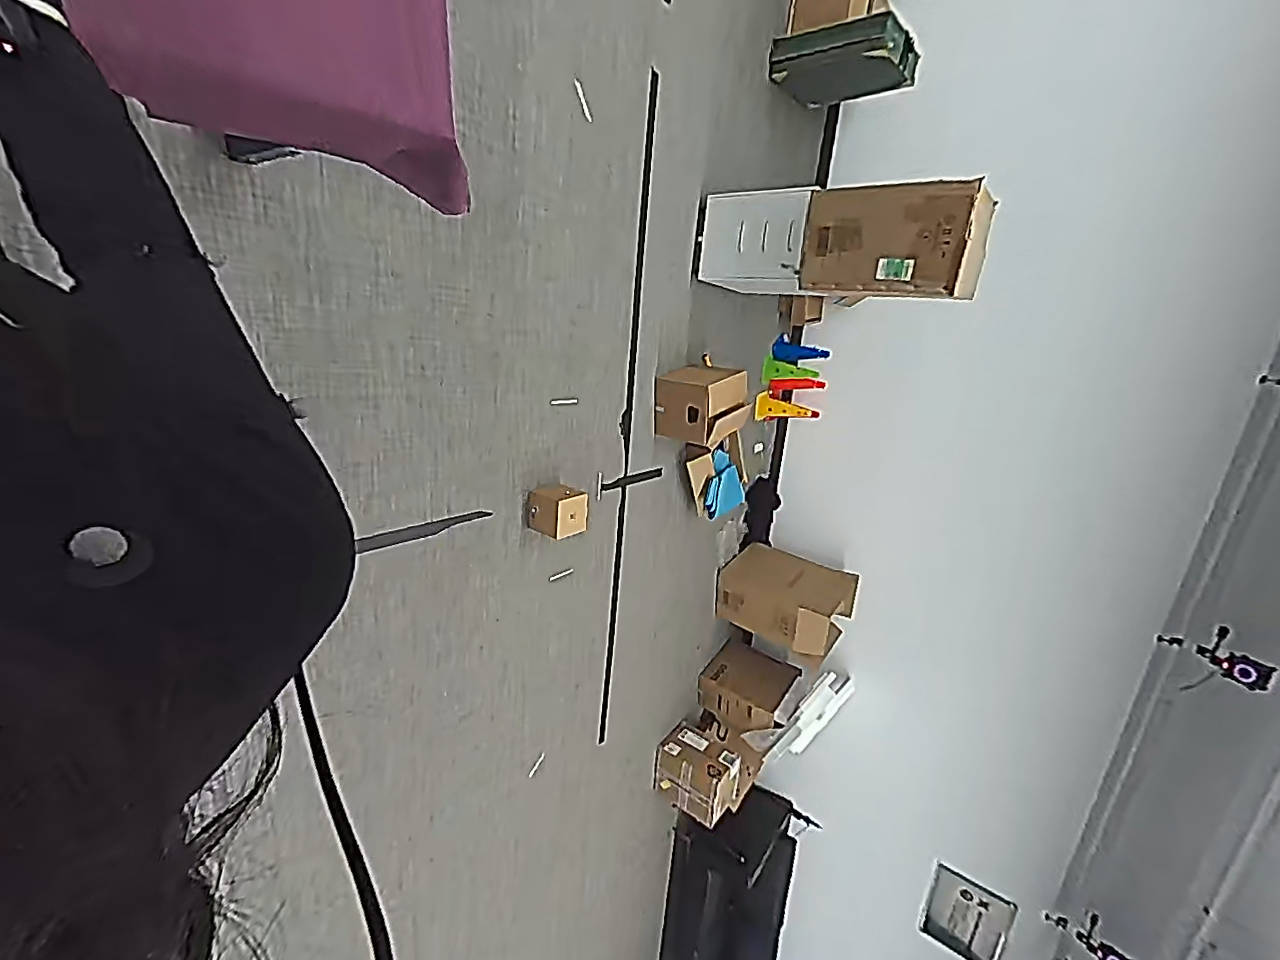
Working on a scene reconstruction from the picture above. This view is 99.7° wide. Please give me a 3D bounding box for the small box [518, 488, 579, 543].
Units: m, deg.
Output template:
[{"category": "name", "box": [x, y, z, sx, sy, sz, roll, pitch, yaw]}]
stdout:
[{"category": "small box", "box": [-0.376, 0.139, 2.222, 0.179, 0.176, 0.168, -14, 114, -52]}]
